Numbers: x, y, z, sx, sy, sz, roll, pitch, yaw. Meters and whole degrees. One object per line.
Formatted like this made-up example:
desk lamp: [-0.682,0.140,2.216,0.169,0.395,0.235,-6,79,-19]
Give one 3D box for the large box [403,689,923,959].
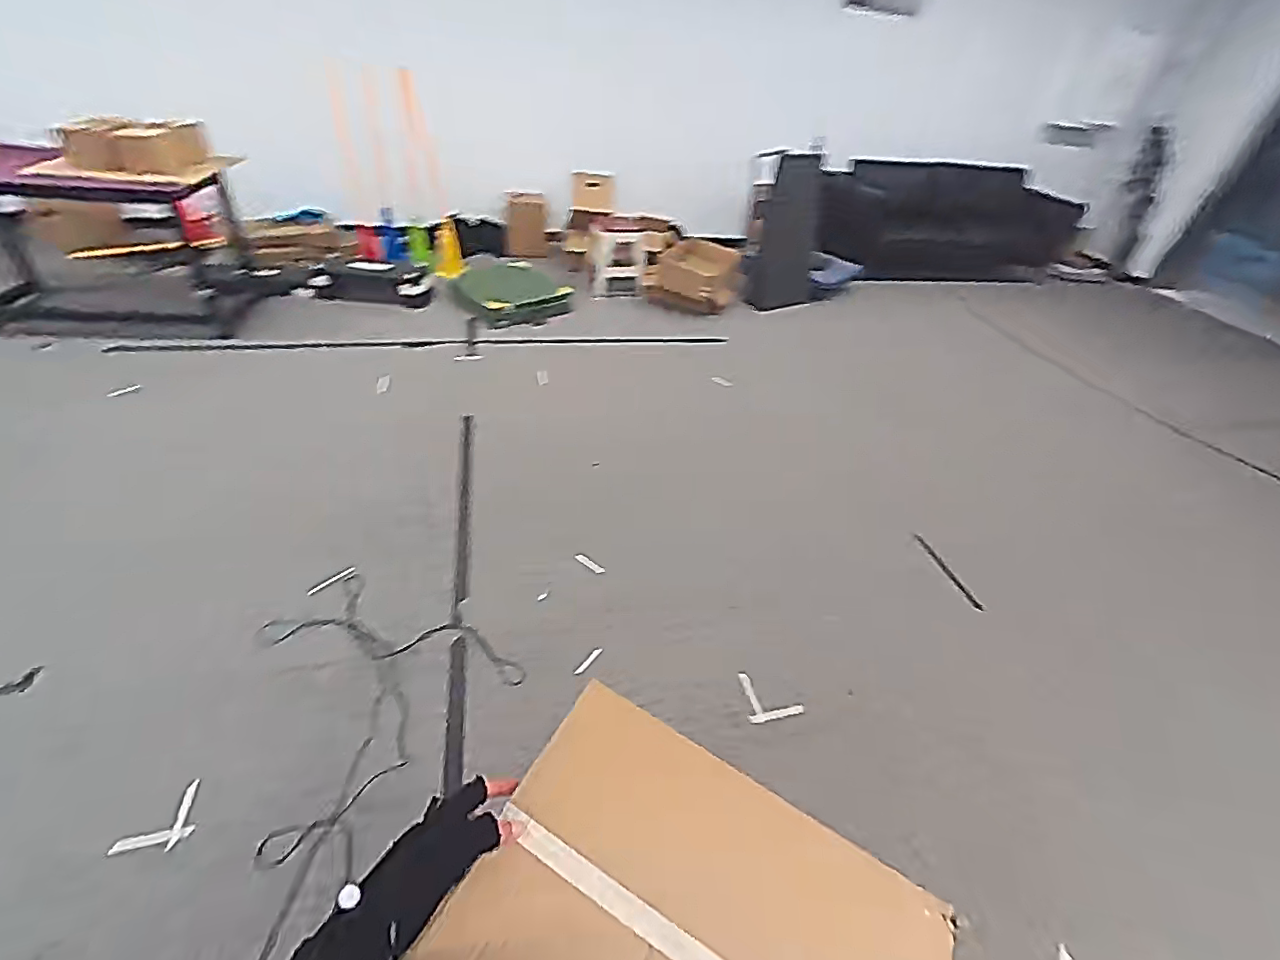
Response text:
large box: [0.009,0.508,0.572,0.408,0.320,0.320,27,46,14]
